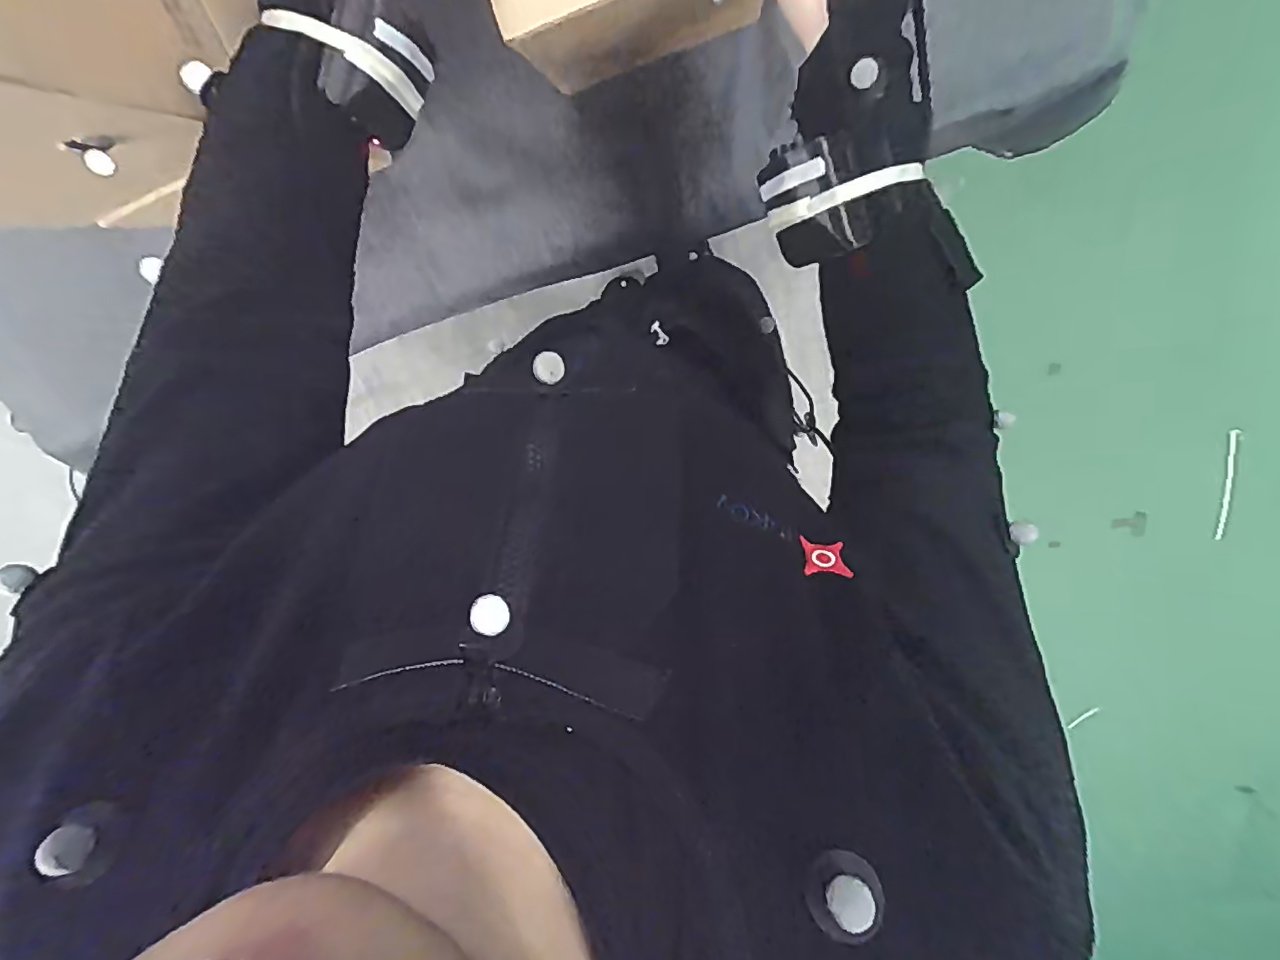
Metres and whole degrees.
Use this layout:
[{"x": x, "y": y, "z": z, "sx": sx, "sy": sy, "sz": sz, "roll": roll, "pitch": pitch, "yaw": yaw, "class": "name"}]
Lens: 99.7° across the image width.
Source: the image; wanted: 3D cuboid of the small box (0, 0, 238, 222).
[{"x": -0.359, "y": -0.247, "z": 0.277, "sx": 0.179, "sy": 0.176, "sz": 0.168, "roll": -15, "pitch": 113, "yaw": 14, "class": "small box"}]

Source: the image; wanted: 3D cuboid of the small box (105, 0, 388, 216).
[{"x": -0.340, "y": -0.322, "z": 0.421, "sx": 0.168, "sy": 0.176, "sz": 0.179, "roll": -15, "pitch": 115, "yaw": 12, "class": "small box"}]

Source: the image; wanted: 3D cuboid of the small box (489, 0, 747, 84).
[{"x": -0.018, "y": -0.398, "z": 0.357, "sx": 0.179, "sy": 0.176, "sz": 0.168, "roll": -13, "pitch": 114, "yaw": 11, "class": "small box"}]
